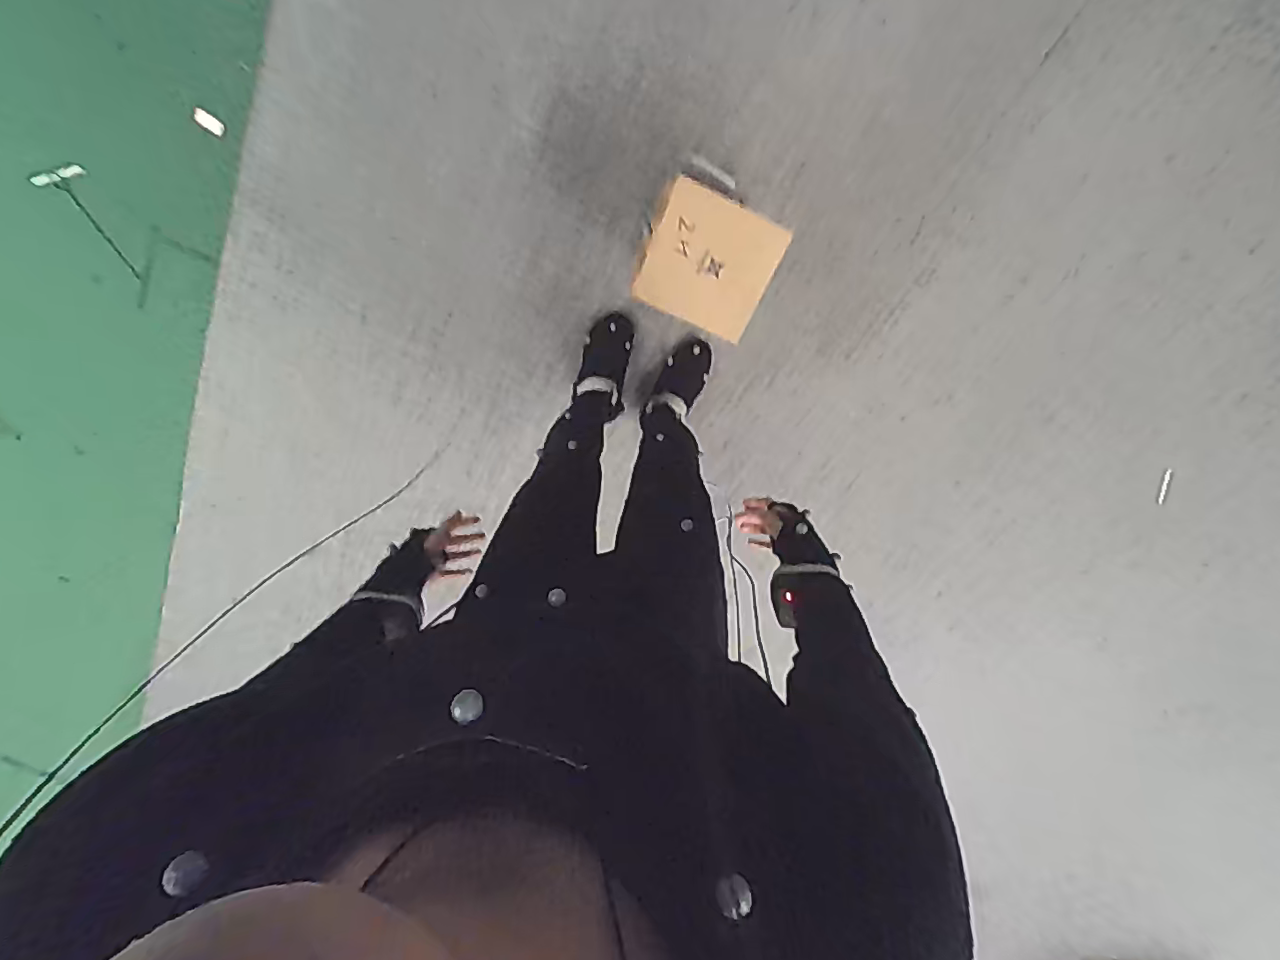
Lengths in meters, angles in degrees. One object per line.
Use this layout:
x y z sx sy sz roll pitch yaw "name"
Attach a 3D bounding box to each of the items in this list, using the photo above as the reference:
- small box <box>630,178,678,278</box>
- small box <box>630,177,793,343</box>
0.098 -0.410 0.965 0.179 0.176 0.168 23 115 -8 "small box"
0.099 -0.333 0.819 0.179 0.176 0.168 23 113 -9 "small box"
